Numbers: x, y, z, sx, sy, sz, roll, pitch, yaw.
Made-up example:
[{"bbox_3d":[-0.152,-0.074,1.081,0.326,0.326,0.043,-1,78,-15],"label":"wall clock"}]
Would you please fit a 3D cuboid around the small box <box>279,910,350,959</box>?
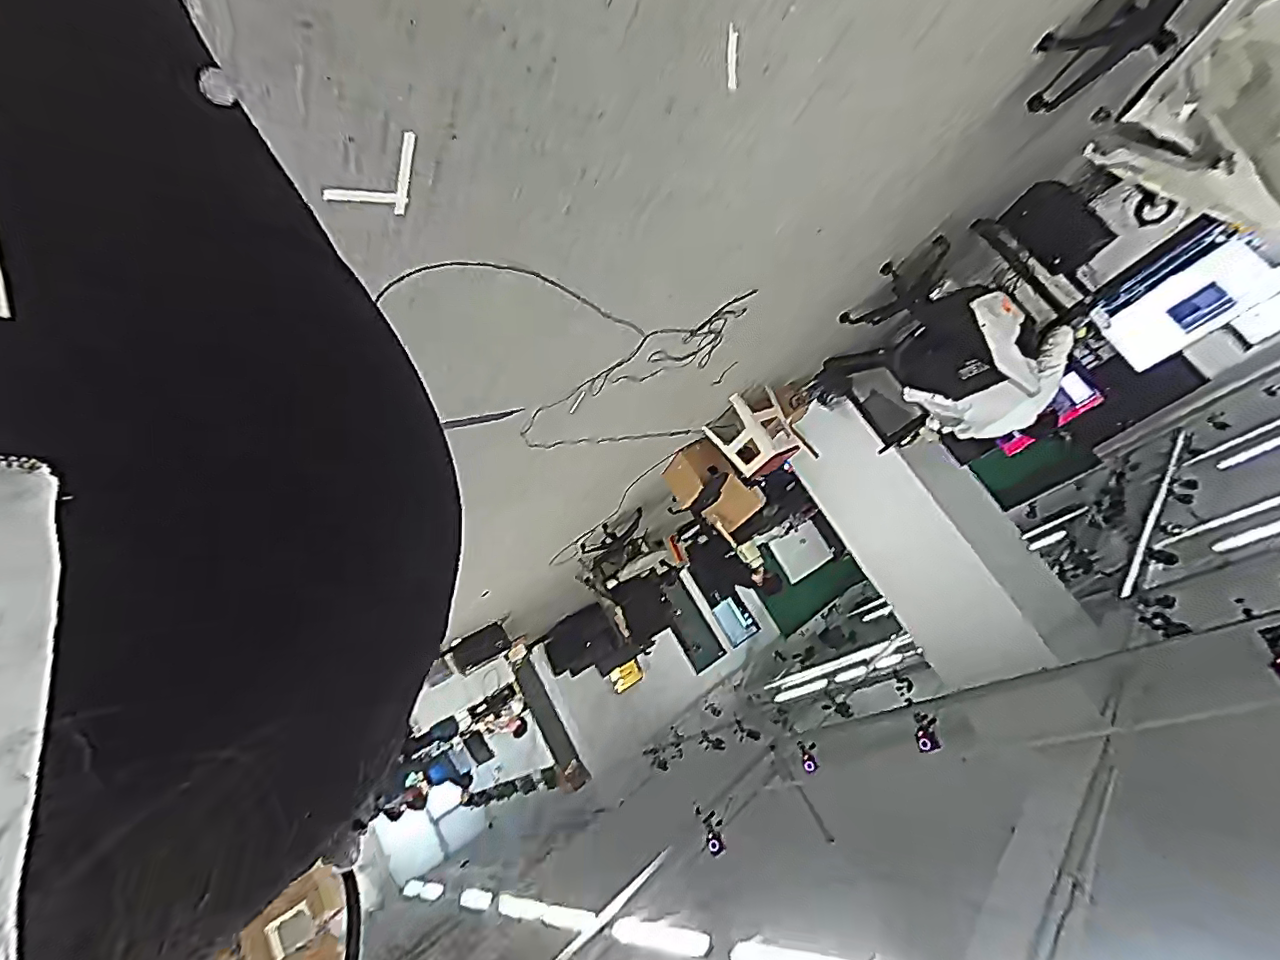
[{"bbox_3d":[-1.114,1.624,1.855,0.168,0.176,0.179,-20,163,-33],"label":"small box"}]
